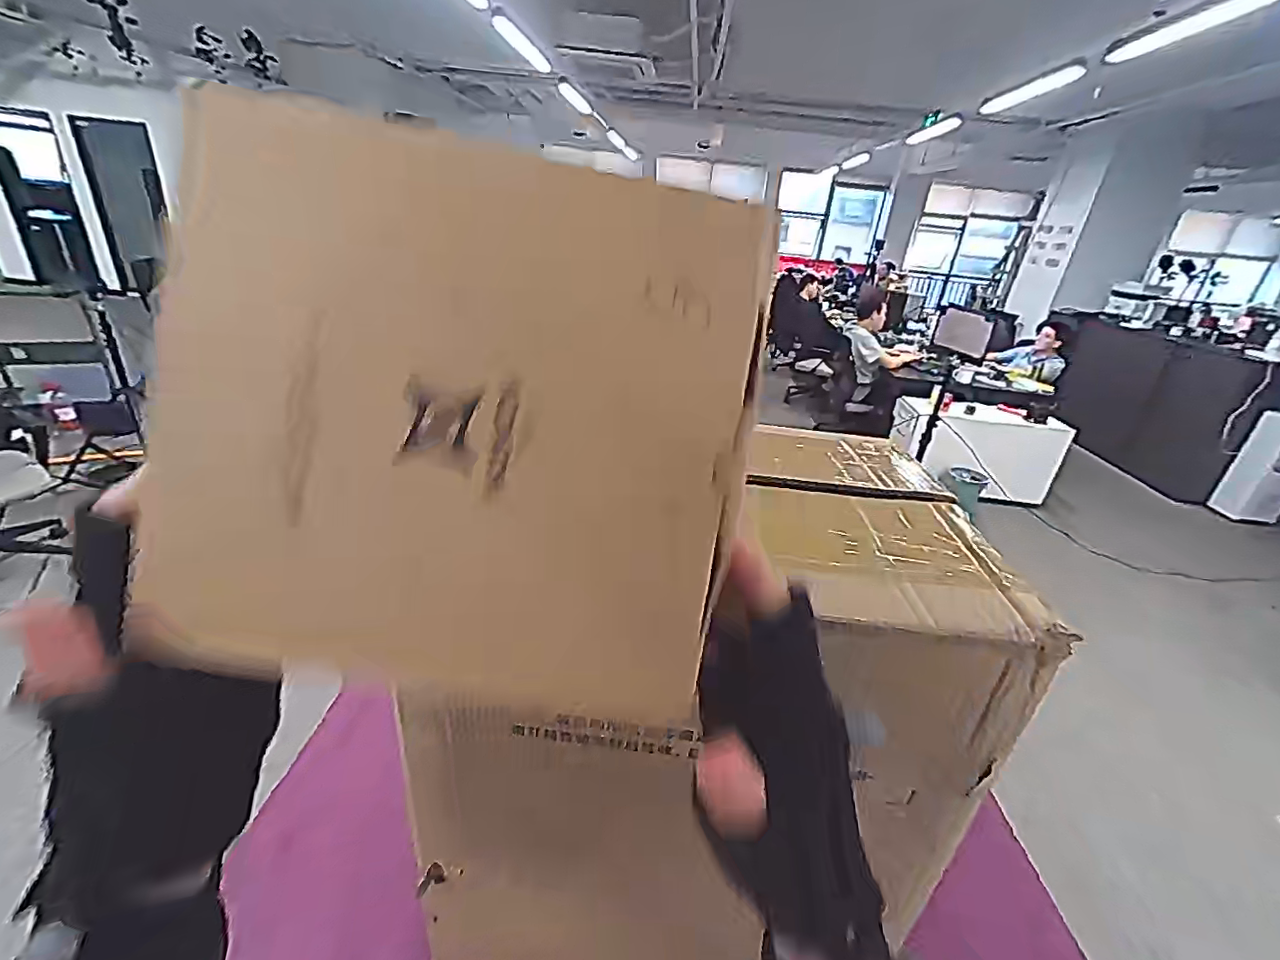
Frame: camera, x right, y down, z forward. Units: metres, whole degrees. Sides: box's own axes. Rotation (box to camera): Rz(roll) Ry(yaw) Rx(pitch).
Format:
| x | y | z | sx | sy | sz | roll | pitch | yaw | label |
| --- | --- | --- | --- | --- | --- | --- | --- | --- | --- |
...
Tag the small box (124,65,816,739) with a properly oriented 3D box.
| x | y | z | sx | sy | sz | roll | pitch | yaw | label |
| --- | --- | --- | --- | --- | --- | --- | --- | --- | --- |
| -0.052 | -0.022 | 0.231 | 0.179 | 0.168 | 0.176 | 9 | 5 | -2 | small box |
